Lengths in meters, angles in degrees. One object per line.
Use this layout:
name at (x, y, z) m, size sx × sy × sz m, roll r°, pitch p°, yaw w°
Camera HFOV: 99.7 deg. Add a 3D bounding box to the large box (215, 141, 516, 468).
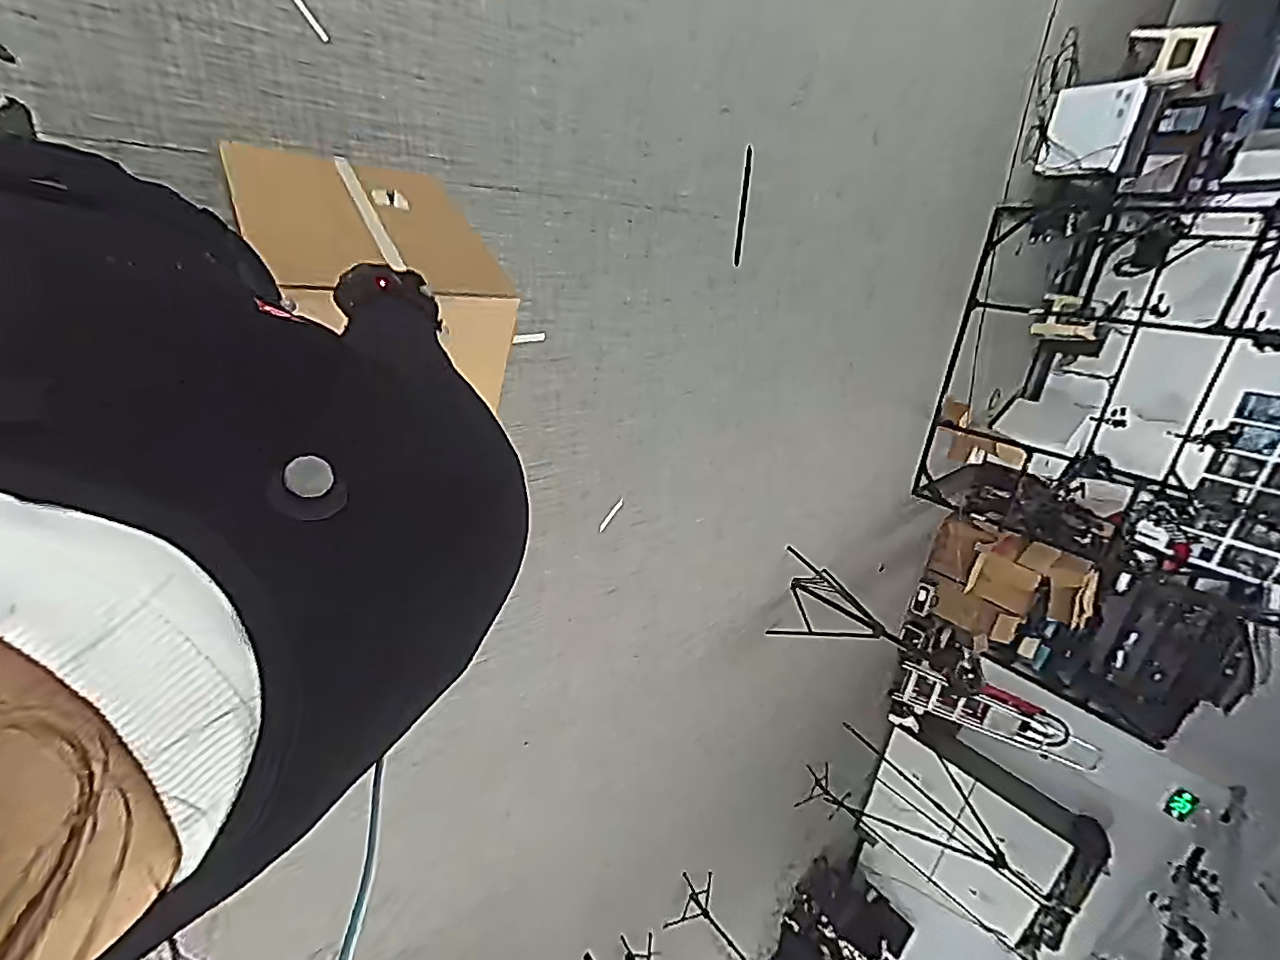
large box at (-0.445, -0.280, 0.878) m, size 0.320 × 0.408 × 0.320 m, roll -11°, pitch 142°, yaw -37°
